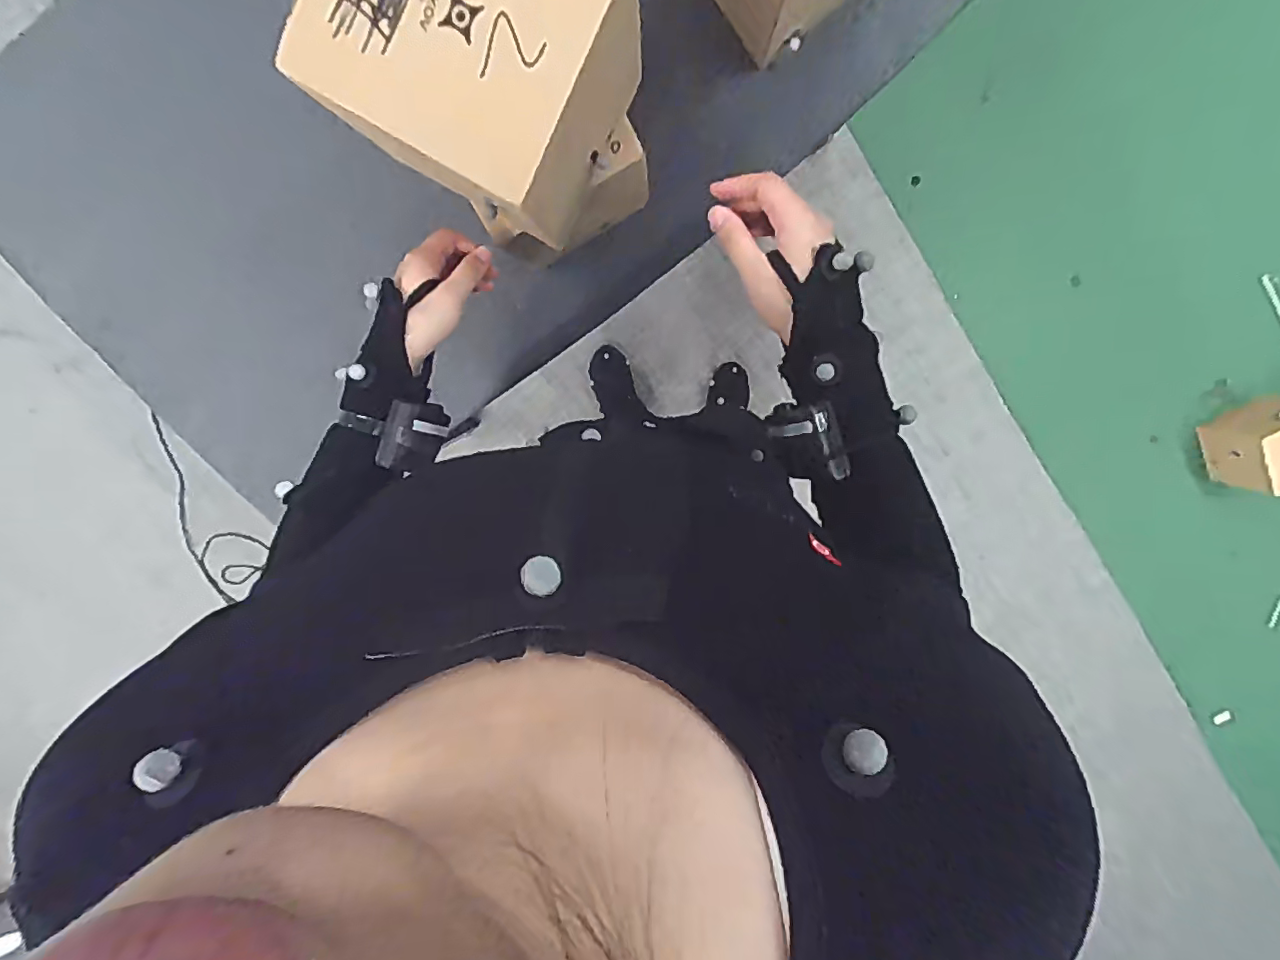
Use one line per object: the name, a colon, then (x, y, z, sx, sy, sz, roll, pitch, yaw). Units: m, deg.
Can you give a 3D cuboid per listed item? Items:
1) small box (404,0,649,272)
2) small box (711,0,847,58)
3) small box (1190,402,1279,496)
small box: (-0.103, -0.345, 0.571, 0.168, 0.176, 0.179, -28, 102, 8)
small box: (0.146, -0.552, 0.510, 0.168, 0.176, 0.179, -36, 99, 10)
small box: (1.579, -0.085, 1.389, 0.179, 0.176, 0.168, -28, 103, 7)
